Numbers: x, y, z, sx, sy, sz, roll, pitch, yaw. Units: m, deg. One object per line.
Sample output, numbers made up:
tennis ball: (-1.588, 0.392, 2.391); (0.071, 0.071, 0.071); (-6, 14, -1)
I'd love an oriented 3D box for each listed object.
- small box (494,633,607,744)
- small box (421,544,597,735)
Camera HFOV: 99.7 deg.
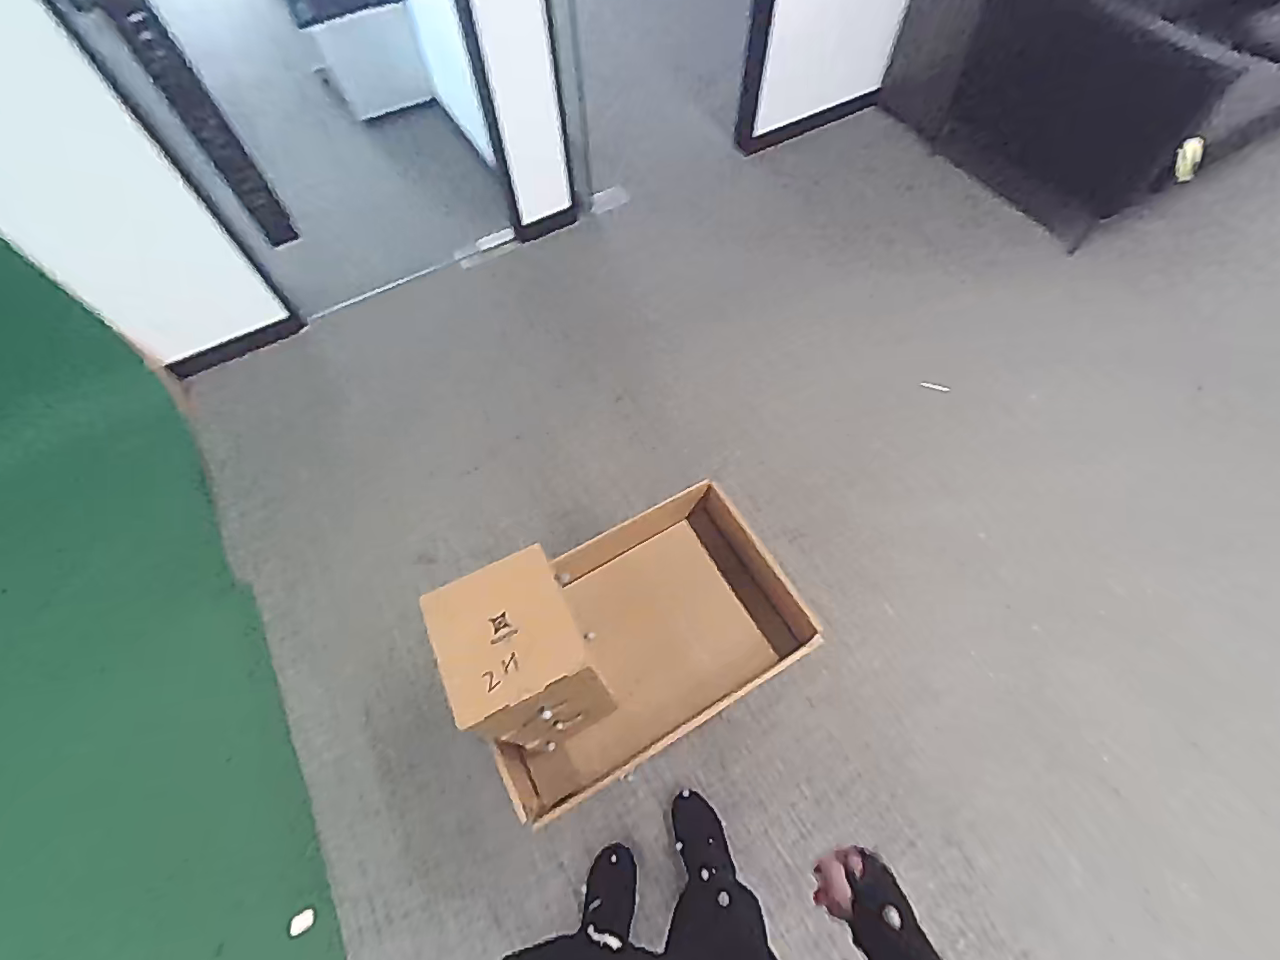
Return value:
small box: (-0.165, 0.303, 0.876); (0.168, 0.176, 0.179); (-25, 63, -12)
small box: (-0.169, 0.221, 0.732); (0.168, 0.176, 0.179); (-24, 63, -11)
